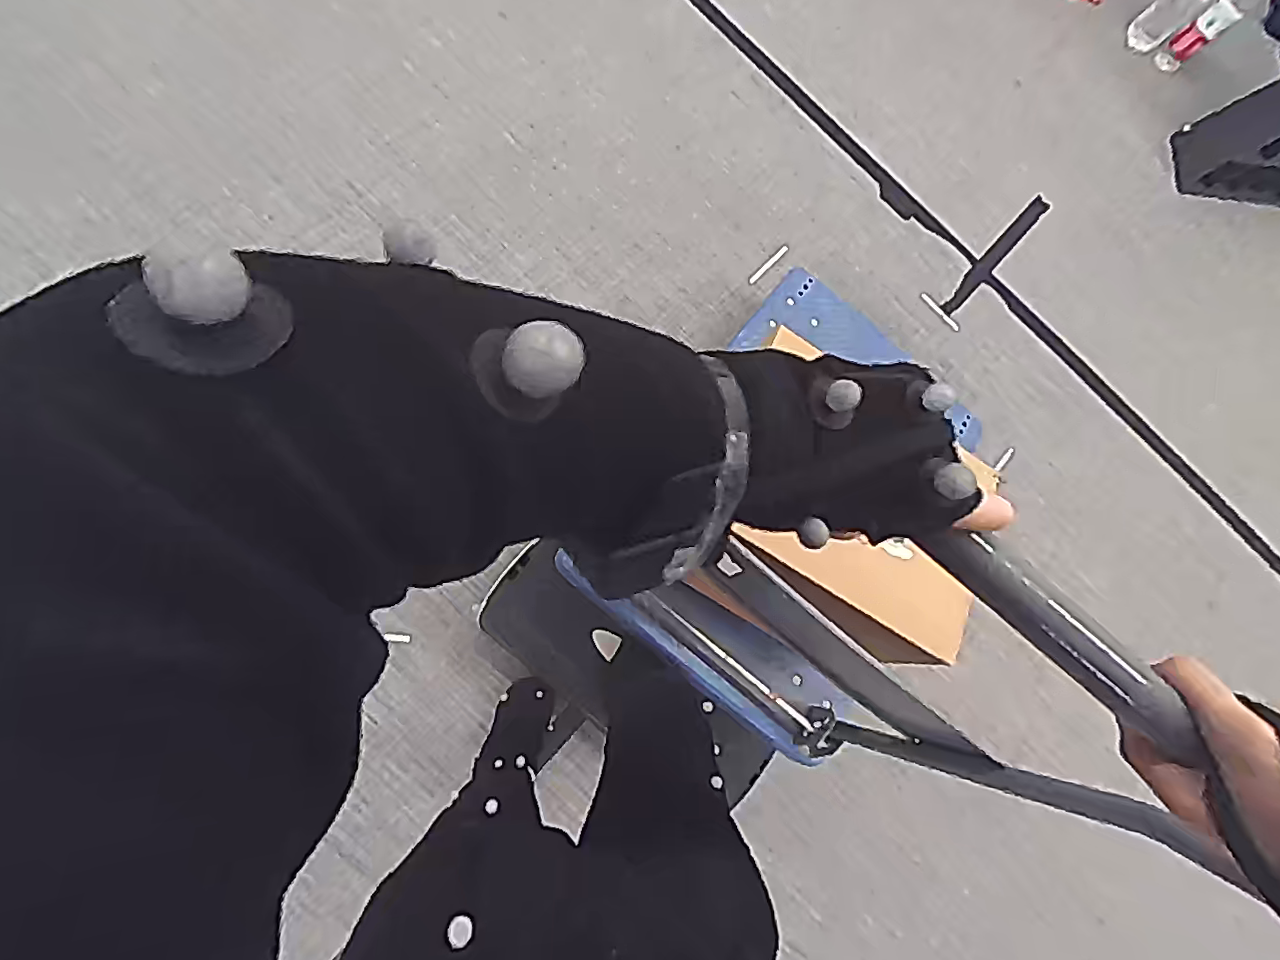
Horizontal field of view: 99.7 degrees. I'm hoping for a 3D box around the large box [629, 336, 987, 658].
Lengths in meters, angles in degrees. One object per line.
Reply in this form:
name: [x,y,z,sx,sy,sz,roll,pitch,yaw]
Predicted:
large box: [0.252,0.053,0.876,0.408,0.320,0.320,32,67,-7]
